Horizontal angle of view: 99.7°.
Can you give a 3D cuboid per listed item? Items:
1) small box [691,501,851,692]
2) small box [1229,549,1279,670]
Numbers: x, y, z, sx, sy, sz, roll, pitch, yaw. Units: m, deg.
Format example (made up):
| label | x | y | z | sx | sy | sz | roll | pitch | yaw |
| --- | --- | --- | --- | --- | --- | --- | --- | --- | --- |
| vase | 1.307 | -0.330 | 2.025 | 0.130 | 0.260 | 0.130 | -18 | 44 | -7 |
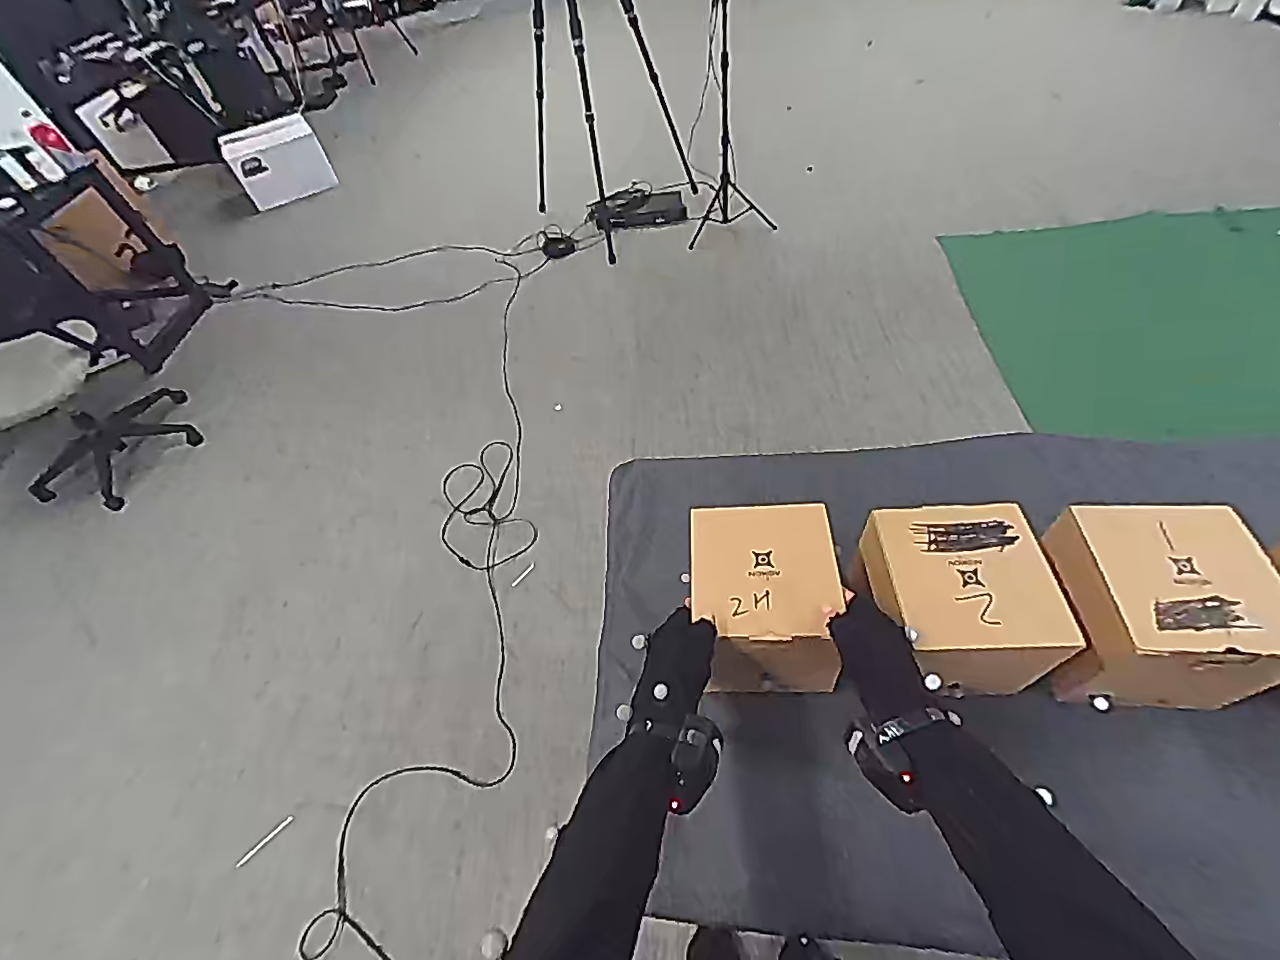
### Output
| label | x | y | z | sx | sy | sz | roll | pitch | yaw |
| --- | --- | --- | --- | --- | --- | --- | --- | --- | --- |
| small box | 0.152 | 0.146 | 0.675 | 0.168 | 0.176 | 0.179 | -4 | 50 | 9 |
| small box | 0.819 | 0.152 | 0.575 | 0.168 | 0.176 | 0.179 | -2 | 52 | 8 |
